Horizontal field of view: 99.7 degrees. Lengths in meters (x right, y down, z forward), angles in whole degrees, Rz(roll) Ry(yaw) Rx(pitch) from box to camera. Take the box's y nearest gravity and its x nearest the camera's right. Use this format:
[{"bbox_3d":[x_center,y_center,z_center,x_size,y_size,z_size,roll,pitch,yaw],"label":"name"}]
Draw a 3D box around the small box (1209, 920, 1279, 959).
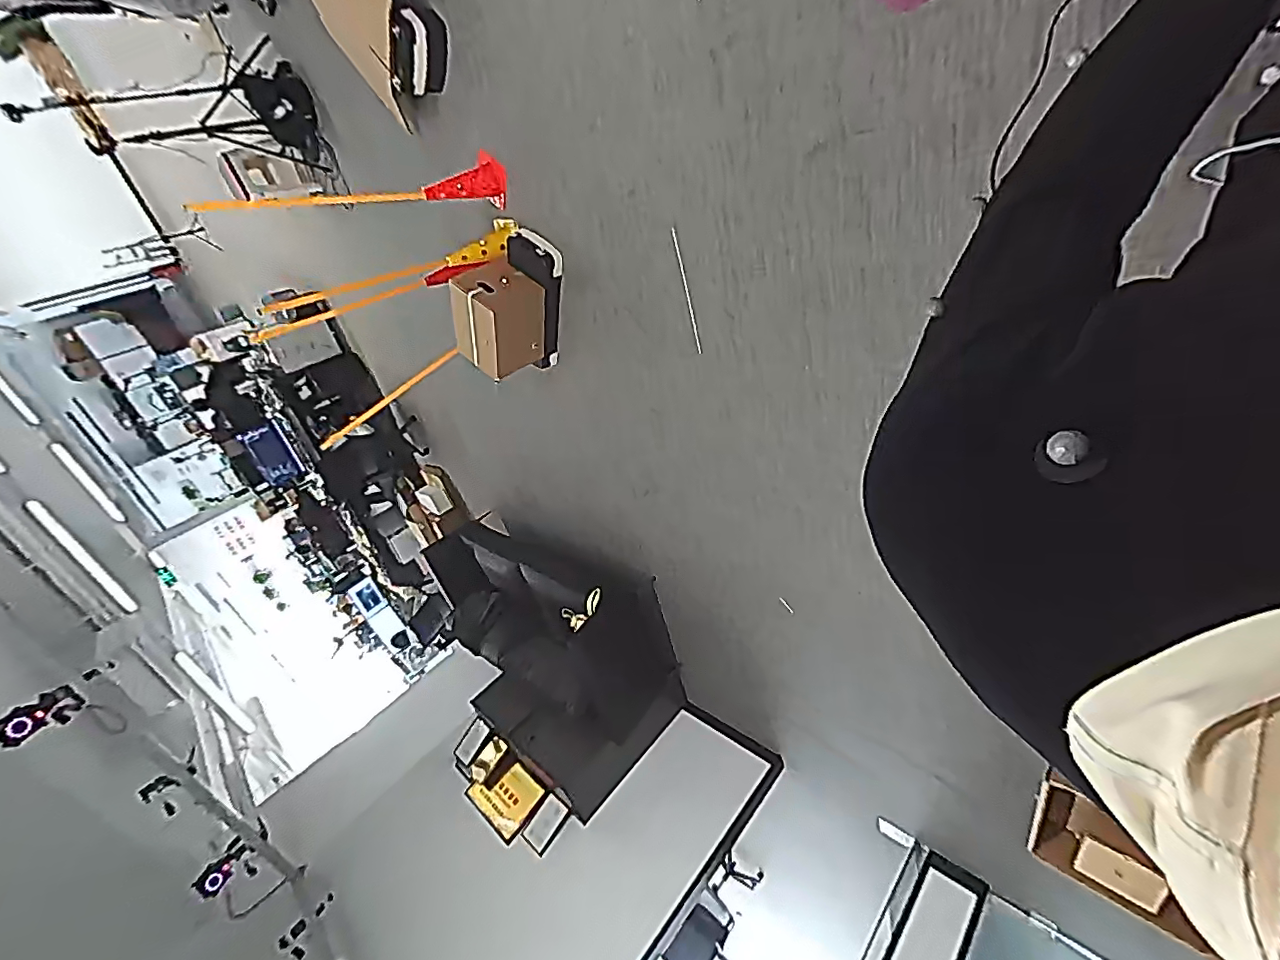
[{"bbox_3d":[1.318,1.085,1.127,0.168,0.176,0.179,16,132,42],"label":"small box"}]
